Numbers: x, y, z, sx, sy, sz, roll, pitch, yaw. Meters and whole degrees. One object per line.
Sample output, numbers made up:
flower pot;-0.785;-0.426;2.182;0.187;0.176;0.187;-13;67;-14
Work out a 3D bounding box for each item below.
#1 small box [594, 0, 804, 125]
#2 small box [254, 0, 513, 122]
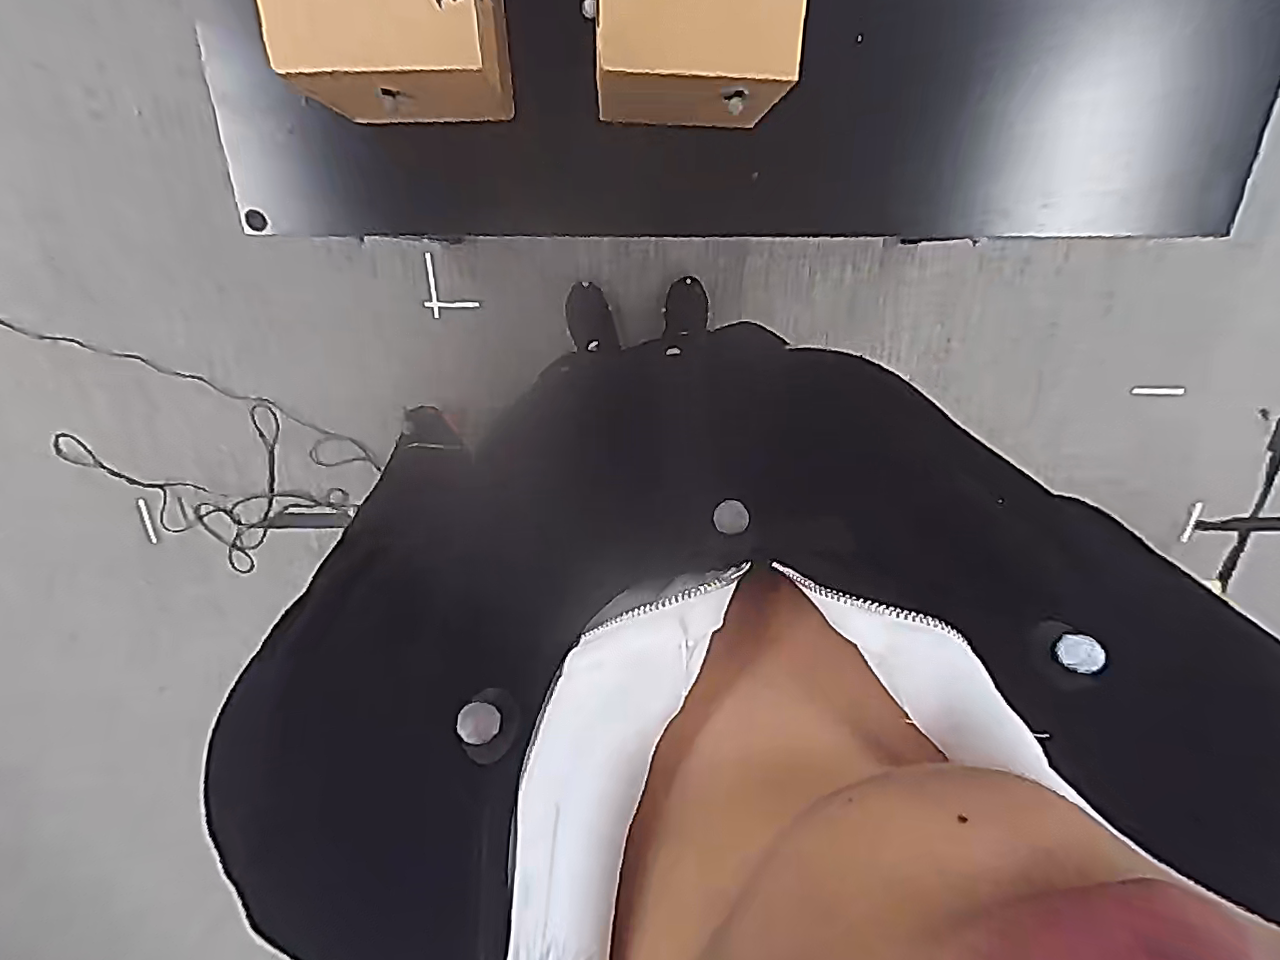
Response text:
small box;0.046;-0.451;0.508;0.179;0.176;0.168;1;111;-3
small box;-0.227;-0.446;0.497;0.179;0.176;0.168;-3;112;-1
